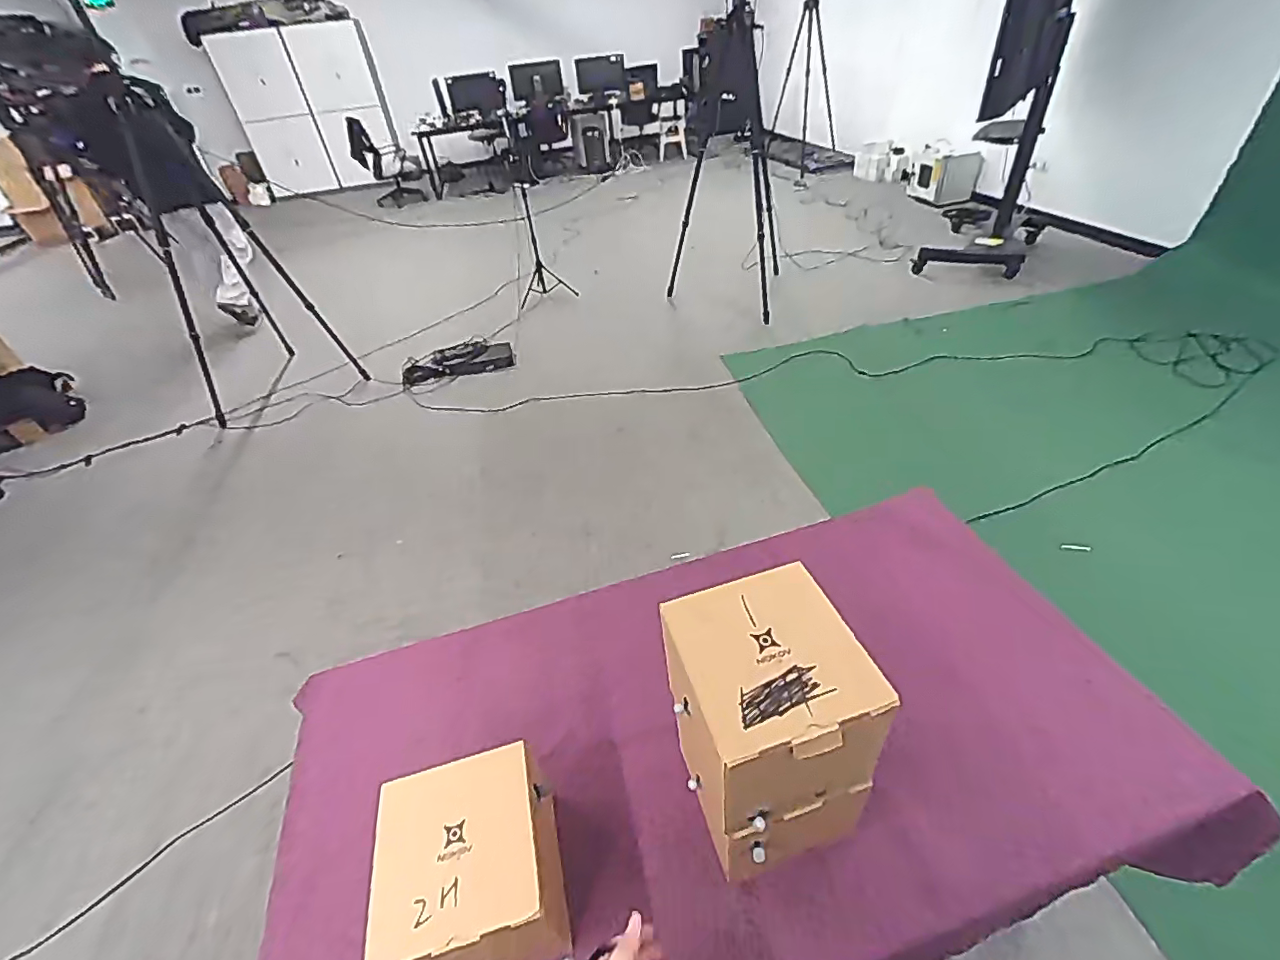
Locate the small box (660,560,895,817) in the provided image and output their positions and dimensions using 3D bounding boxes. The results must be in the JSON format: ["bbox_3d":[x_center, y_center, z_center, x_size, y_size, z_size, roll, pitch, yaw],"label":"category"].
[{"bbox_3d":[0.131,0.221,0.566,0.168,0.176,0.179,-15,39,-9],"label":"small box"}]

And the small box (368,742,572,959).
[{"bbox_3d":[-0.182,0.440,0.613,0.168,0.176,0.179,-15,40,-8],"label":"small box"}]
